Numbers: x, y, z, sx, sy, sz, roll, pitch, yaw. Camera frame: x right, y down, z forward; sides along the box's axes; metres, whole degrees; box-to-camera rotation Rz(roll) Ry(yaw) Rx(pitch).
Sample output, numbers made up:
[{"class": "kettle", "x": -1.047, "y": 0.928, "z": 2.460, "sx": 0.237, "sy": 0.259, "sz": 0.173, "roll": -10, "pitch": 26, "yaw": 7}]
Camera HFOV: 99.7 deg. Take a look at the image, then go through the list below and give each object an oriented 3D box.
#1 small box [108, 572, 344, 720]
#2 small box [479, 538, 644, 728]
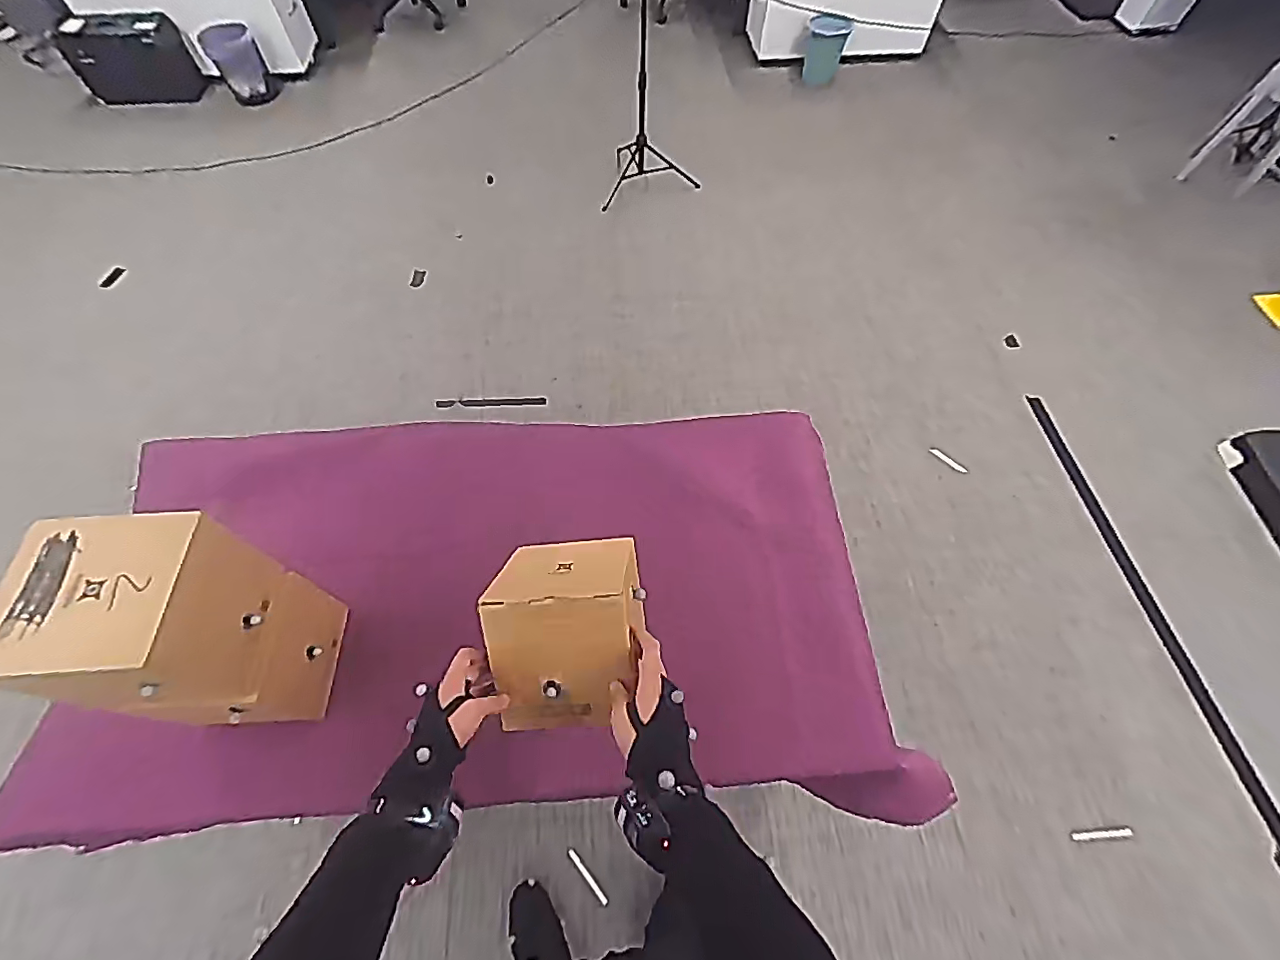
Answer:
[{"class": "small box", "x": -0.543, "y": 0.232, "z": 0.746, "sx": 0.179, "sy": 0.176, "sz": 0.168, "roll": -1, "pitch": 60, "yaw": -2}, {"class": "small box", "x": -0.087, "y": 0.188, "z": 0.692, "sx": 0.168, "sy": 0.176, "sz": 0.179, "roll": -5, "pitch": 17, "yaw": 5}]
